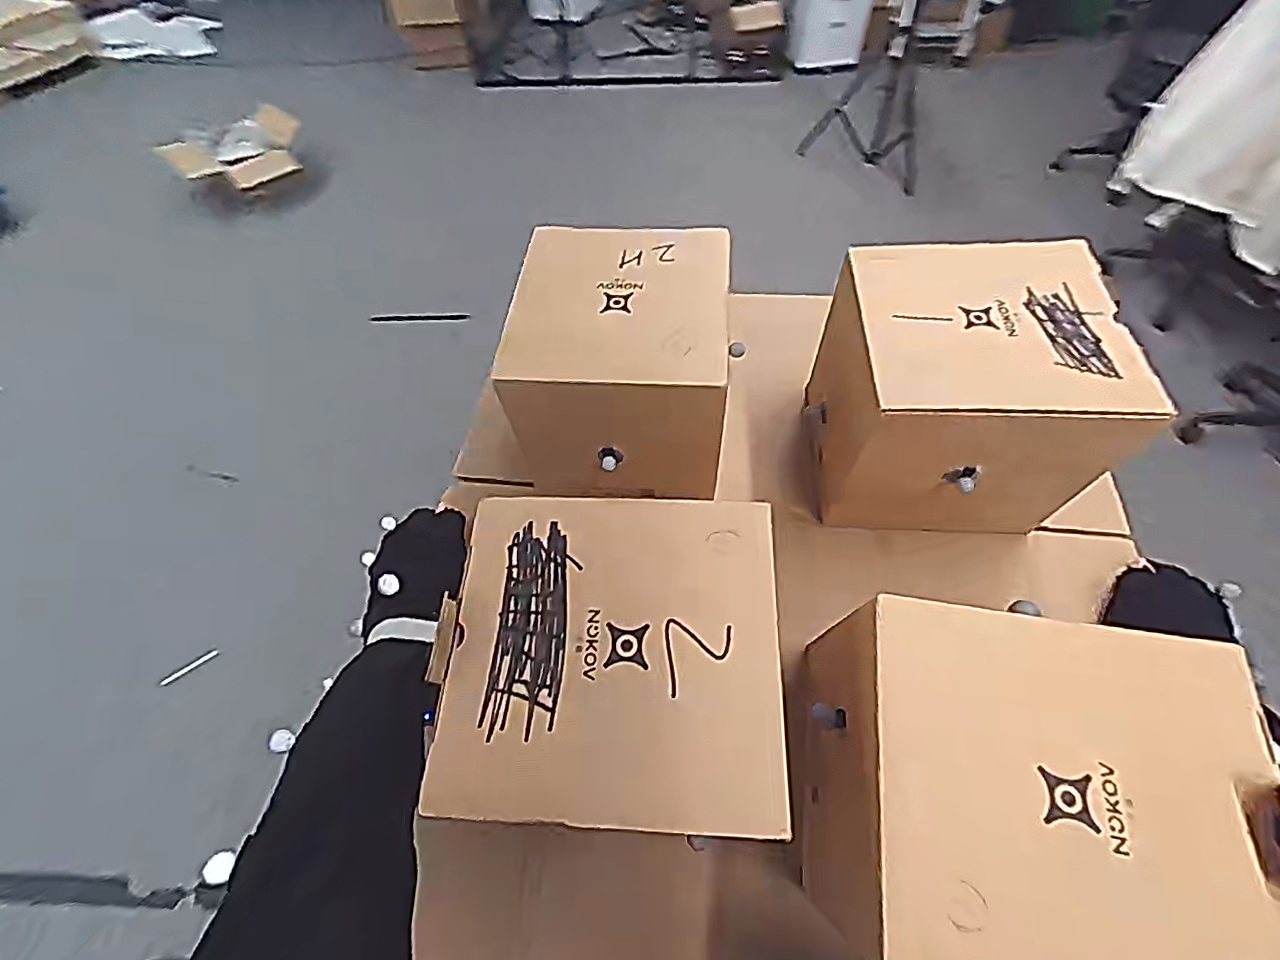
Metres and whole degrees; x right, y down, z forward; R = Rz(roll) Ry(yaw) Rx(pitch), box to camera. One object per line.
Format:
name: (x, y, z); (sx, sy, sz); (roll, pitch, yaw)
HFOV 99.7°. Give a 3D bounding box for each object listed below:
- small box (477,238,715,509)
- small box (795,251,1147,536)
small box: (-0.021, -0.087, 0.479); (0.168, 0.176, 0.179); (3, 58, 5)
small box: (0.236, -0.063, 0.445); (0.179, 0.176, 0.168); (1, 59, 6)
